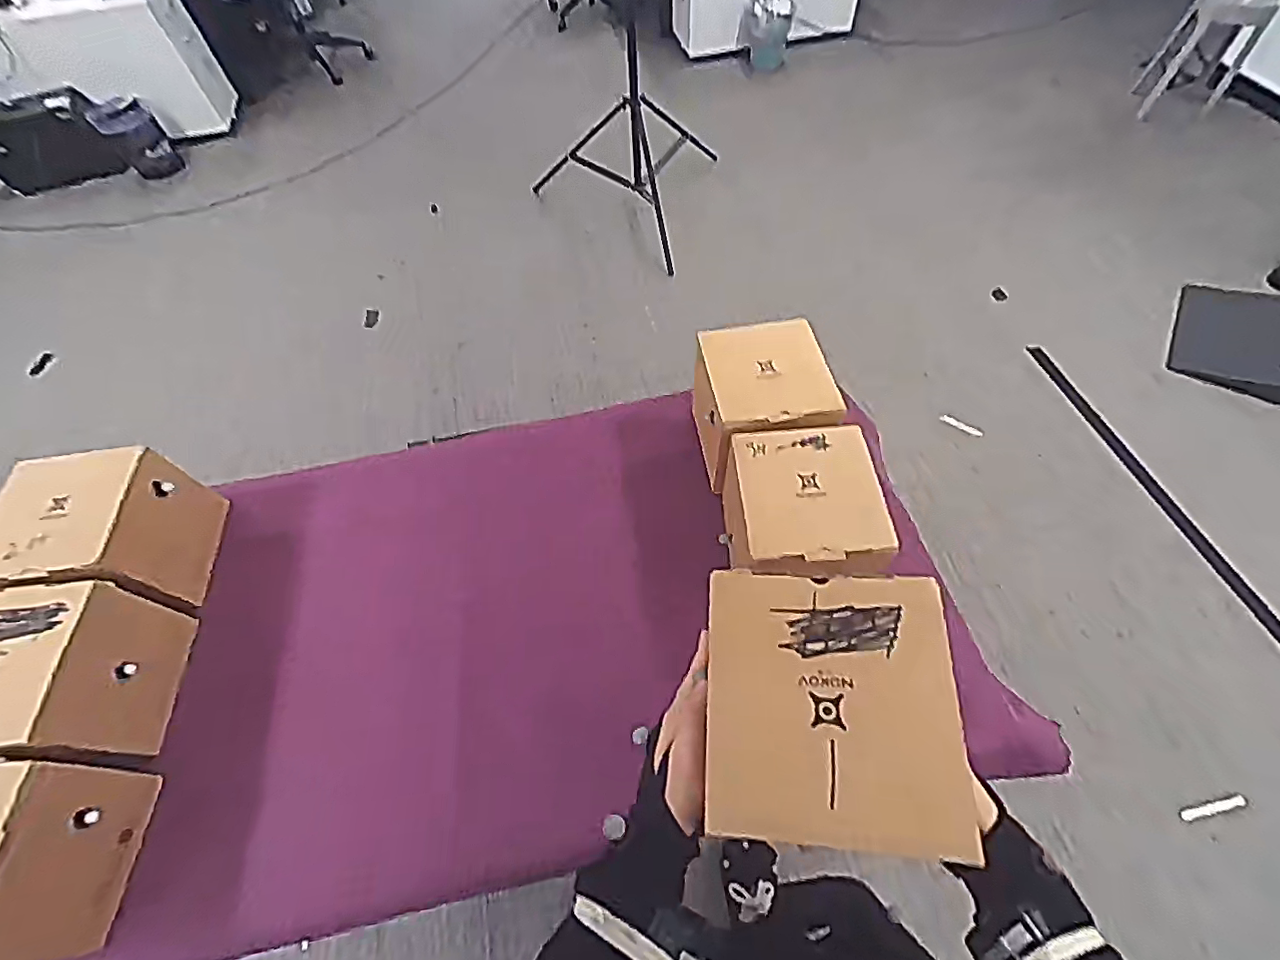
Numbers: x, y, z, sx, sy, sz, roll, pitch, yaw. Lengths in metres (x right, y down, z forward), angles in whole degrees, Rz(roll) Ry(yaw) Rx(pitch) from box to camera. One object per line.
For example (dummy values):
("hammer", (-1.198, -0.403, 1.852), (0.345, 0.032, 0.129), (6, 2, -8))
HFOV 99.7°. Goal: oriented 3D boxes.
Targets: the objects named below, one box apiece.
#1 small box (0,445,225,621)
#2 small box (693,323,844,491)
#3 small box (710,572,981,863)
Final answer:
("small box", (-0.721, 0.076, 0.743), (0.168, 0.176, 0.179), (-8, 59, -2))
("small box", (0.176, -0.106, 0.809), (0.168, 0.176, 0.179), (-8, 58, -3))
("small box", (0.143, 0.187, 0.444), (0.168, 0.176, 0.179), (0, 64, 10))
